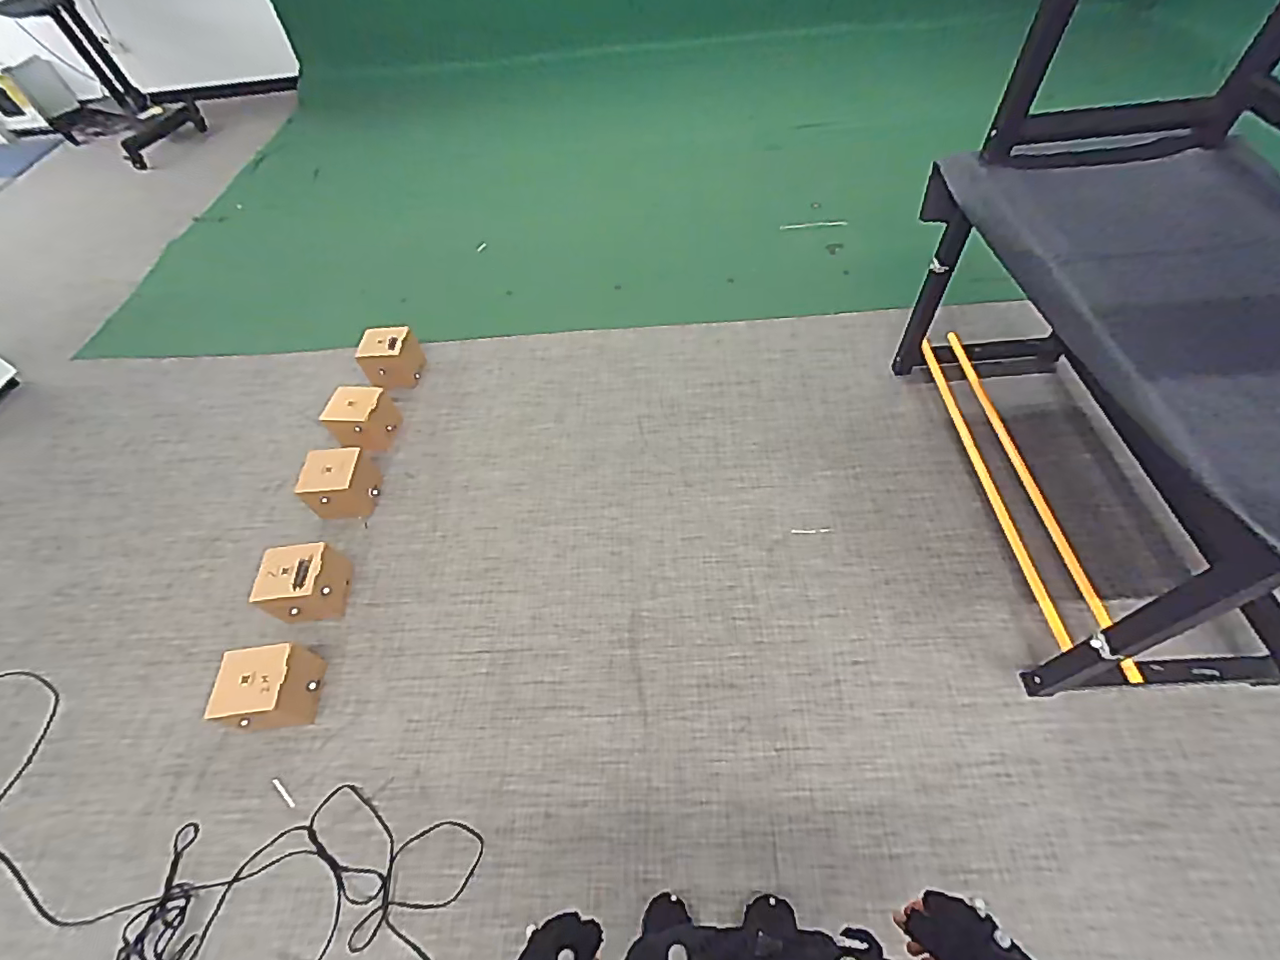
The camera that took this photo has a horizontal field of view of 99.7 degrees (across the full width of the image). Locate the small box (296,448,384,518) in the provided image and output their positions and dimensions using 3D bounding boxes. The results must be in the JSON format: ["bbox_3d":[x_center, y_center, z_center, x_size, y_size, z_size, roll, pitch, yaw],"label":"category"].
[{"bbox_3d":[-0.980,0.015,1.781,0.179,0.176,0.168,-4,56,0],"label":"small box"}]

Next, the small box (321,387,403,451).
[{"bbox_3d":[-0.993,-0.217,1.948,0.179,0.176,0.168,2,55,7],"label":"small box"}]

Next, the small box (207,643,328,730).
[{"bbox_3d":[-0.955,0.540,1.404,0.179,0.176,0.168,-8,55,0],"label":"small box"}]

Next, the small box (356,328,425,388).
[{"bbox_3d":[-0.974,-0.477,2.132,0.179,0.176,0.168,-2,54,5],"label":"small box"}]
